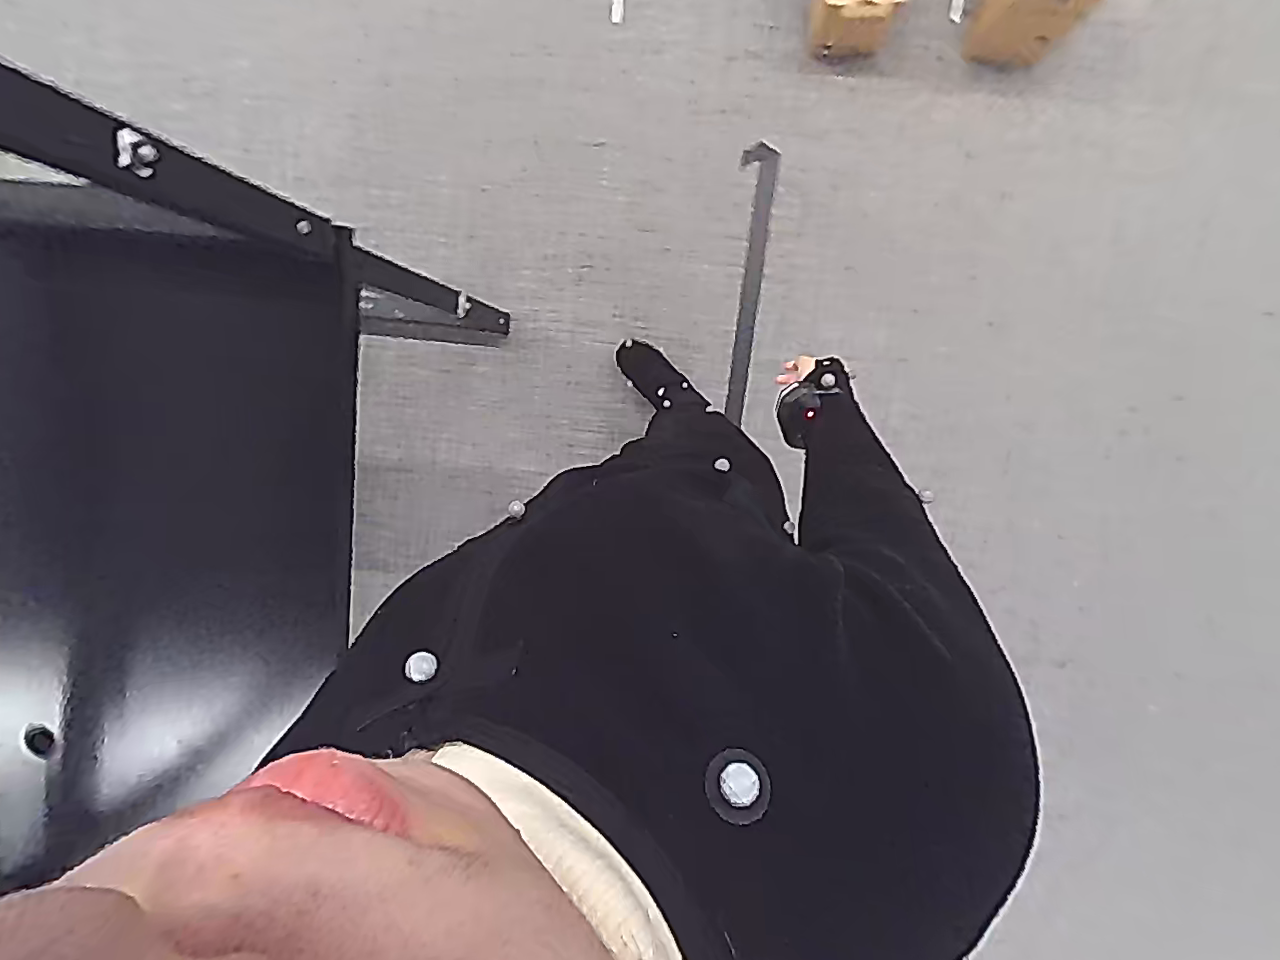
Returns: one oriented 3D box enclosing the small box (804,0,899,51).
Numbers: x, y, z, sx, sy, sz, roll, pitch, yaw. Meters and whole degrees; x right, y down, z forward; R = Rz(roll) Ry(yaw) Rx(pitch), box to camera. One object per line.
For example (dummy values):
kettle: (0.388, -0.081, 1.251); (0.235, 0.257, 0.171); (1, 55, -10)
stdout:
small box: (0.468, -1.092, 1.199); (0.168, 0.176, 0.179); (1, 98, 3)

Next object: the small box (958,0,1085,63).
small box: (0.841, -1.055, 1.182); (0.179, 0.176, 0.168); (9, 99, 3)
